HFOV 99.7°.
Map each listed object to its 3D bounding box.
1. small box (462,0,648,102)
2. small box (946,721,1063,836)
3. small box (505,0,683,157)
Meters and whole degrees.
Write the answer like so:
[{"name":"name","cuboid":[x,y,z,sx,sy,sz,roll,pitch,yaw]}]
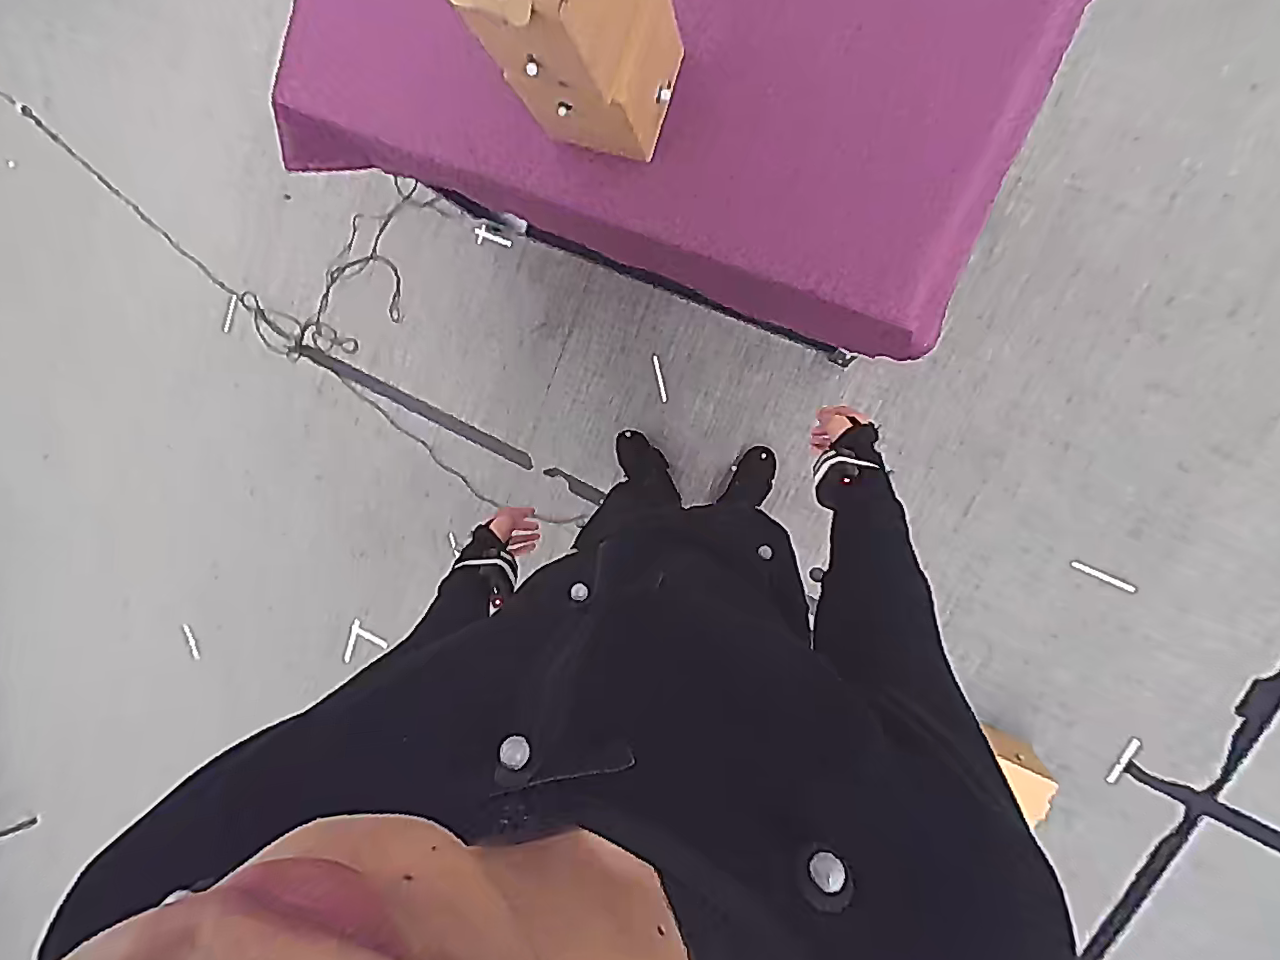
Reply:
[{"name":"small box","cuboid":[-0.096,-0.578,0.604,0.168,0.176,0.179,27,102,11]},{"name":"small box","cuboid":[0.932,0.762,1.406,0.179,0.176,0.168,21,101,11]},{"name":"small box","cuboid":[-0.056,-0.590,0.763,0.179,0.176,0.168,21,101,11]}]
